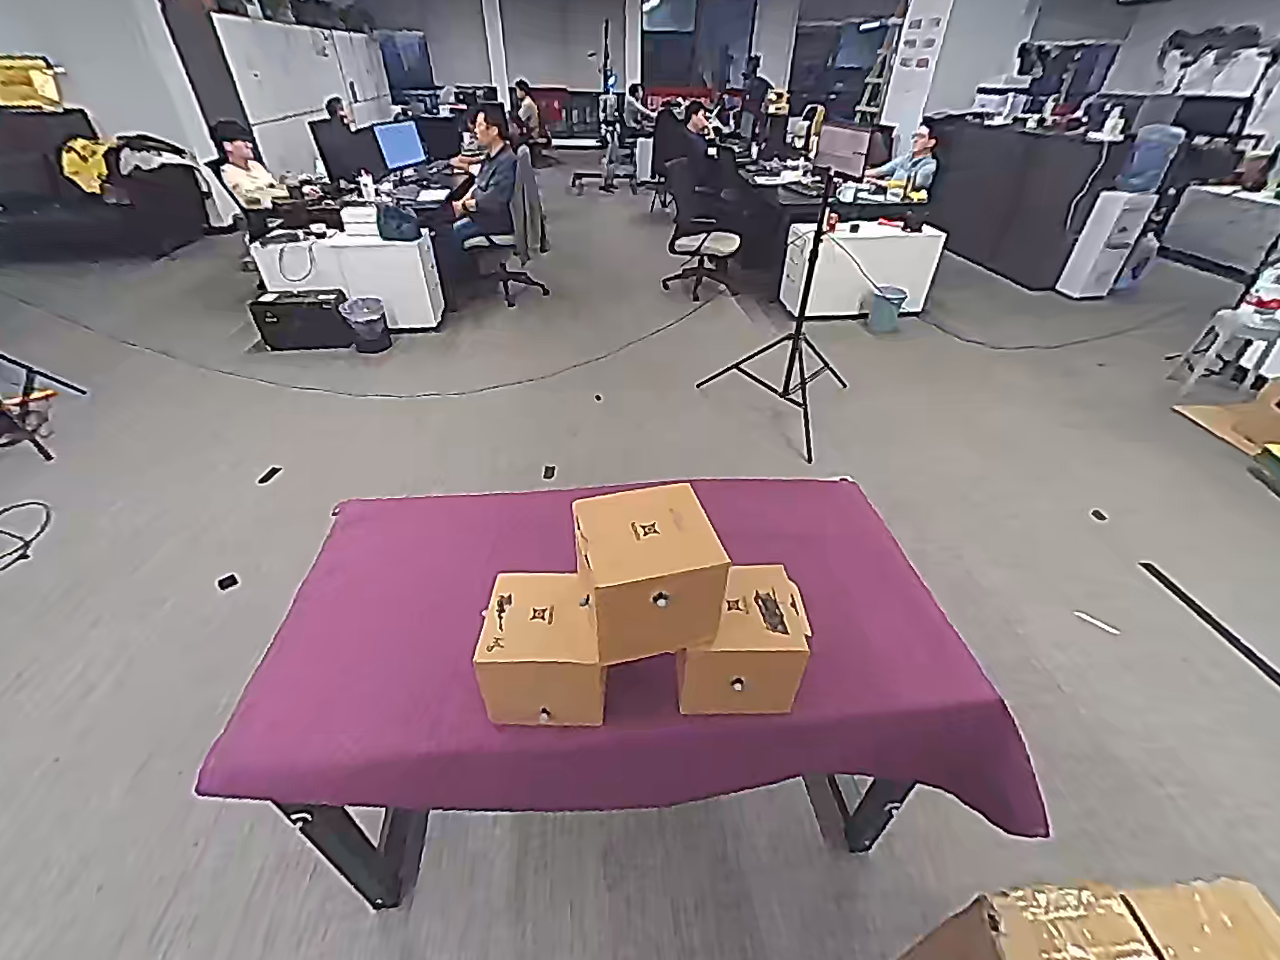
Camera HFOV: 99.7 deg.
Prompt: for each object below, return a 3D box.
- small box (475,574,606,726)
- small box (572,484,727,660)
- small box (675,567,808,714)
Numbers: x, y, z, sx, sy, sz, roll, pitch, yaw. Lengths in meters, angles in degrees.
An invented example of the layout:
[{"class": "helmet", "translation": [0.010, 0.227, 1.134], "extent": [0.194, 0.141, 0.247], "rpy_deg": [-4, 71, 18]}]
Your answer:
[{"class": "small box", "translation": [-0.141, 0.268, 0.853], "extent": [0.179, 0.176, 0.168], "rpy_deg": [1, 36, -1]}, {"class": "small box", "translation": [0.008, 0.131, 0.767], "extent": [0.179, 0.176, 0.168], "rpy_deg": [-9, 39, -13]}, {"class": "small box", "translation": [0.150, 0.258, 0.870], "extent": [0.179, 0.176, 0.168], "rpy_deg": [-1, 36, 0]}]
